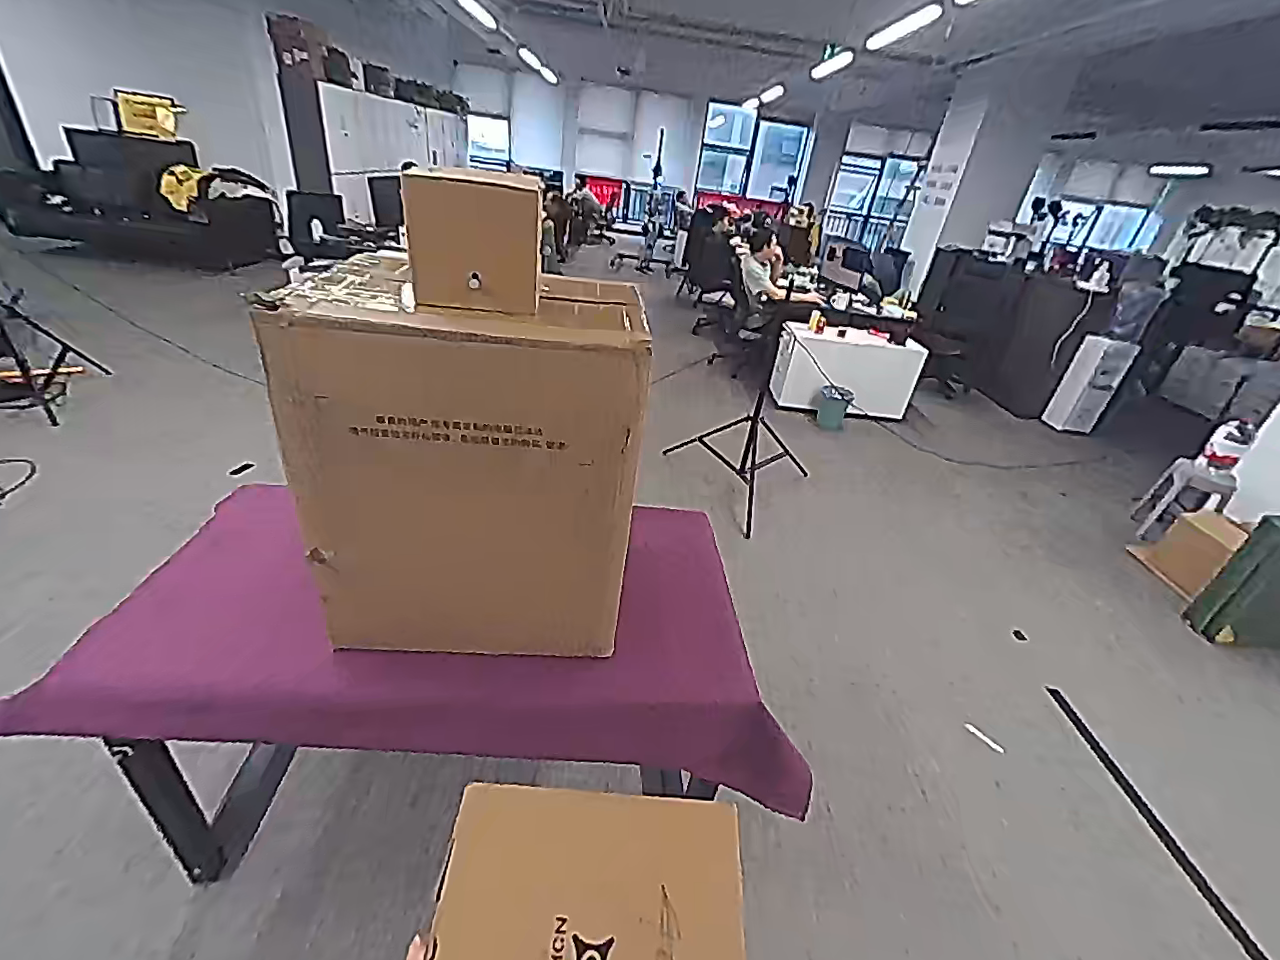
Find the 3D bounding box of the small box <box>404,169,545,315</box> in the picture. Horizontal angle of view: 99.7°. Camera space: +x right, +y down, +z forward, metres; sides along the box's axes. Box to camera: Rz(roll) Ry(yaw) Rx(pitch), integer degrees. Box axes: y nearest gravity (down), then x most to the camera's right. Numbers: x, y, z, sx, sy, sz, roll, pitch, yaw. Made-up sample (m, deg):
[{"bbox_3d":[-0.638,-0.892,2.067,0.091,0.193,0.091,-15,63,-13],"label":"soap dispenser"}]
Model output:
[{"bbox_3d":[-0.237,-0.356,0.815,0.179,0.176,0.168,3,32,-10],"label":"small box"}]
